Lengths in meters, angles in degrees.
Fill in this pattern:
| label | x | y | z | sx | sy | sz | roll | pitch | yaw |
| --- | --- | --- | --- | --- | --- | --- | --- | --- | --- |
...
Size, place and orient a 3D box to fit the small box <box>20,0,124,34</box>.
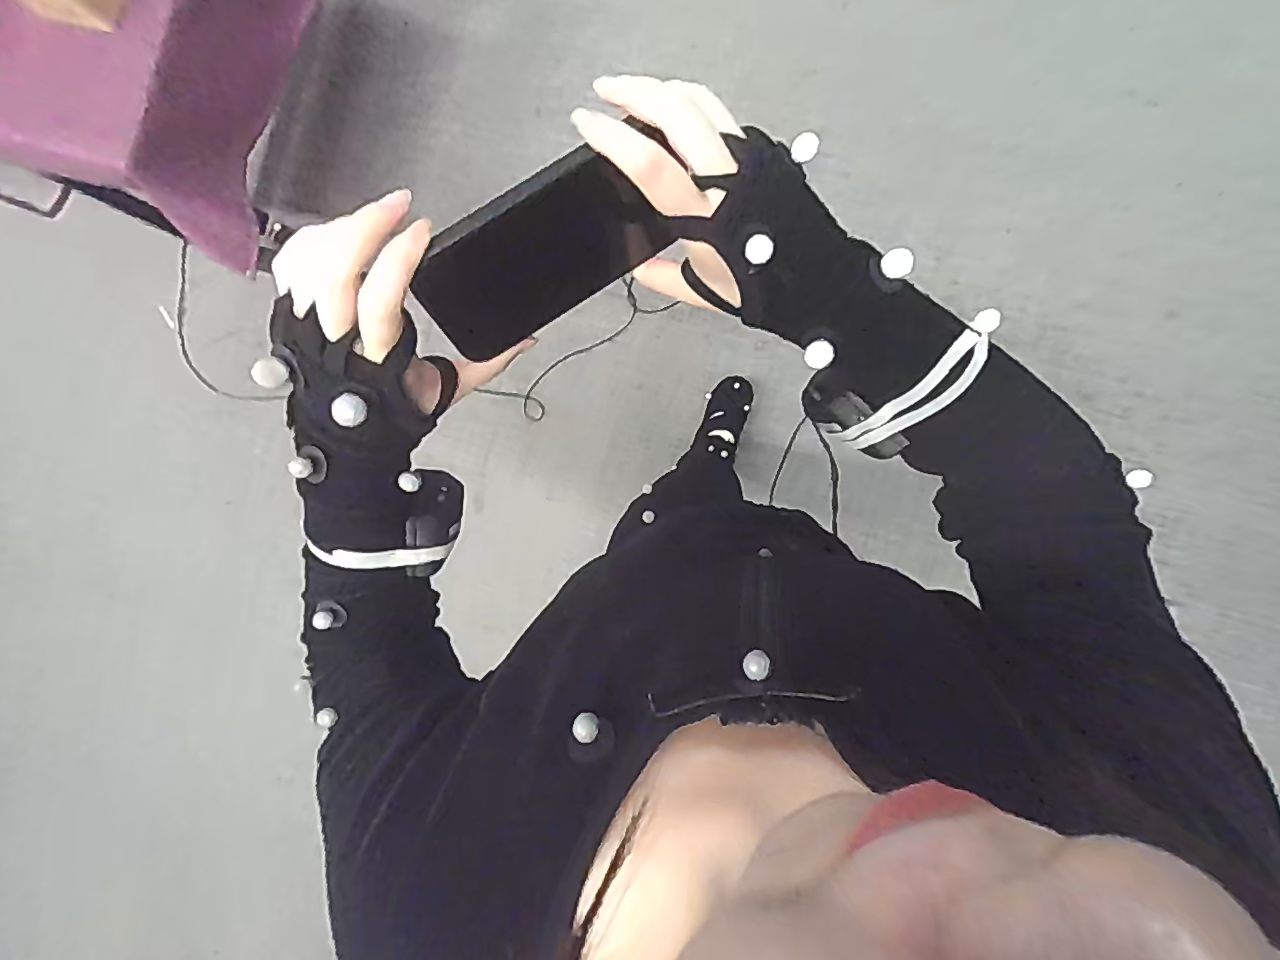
| label | x | y | z | sx | sy | sz | roll | pitch | yaw |
| --- | --- | --- | --- | --- | --- | --- | --- | --- | --- |
| small box | -0.946 | -0.856 | 0.846 | 0.168 | 0.176 | 0.179 | 18 | 91 | 8 |
